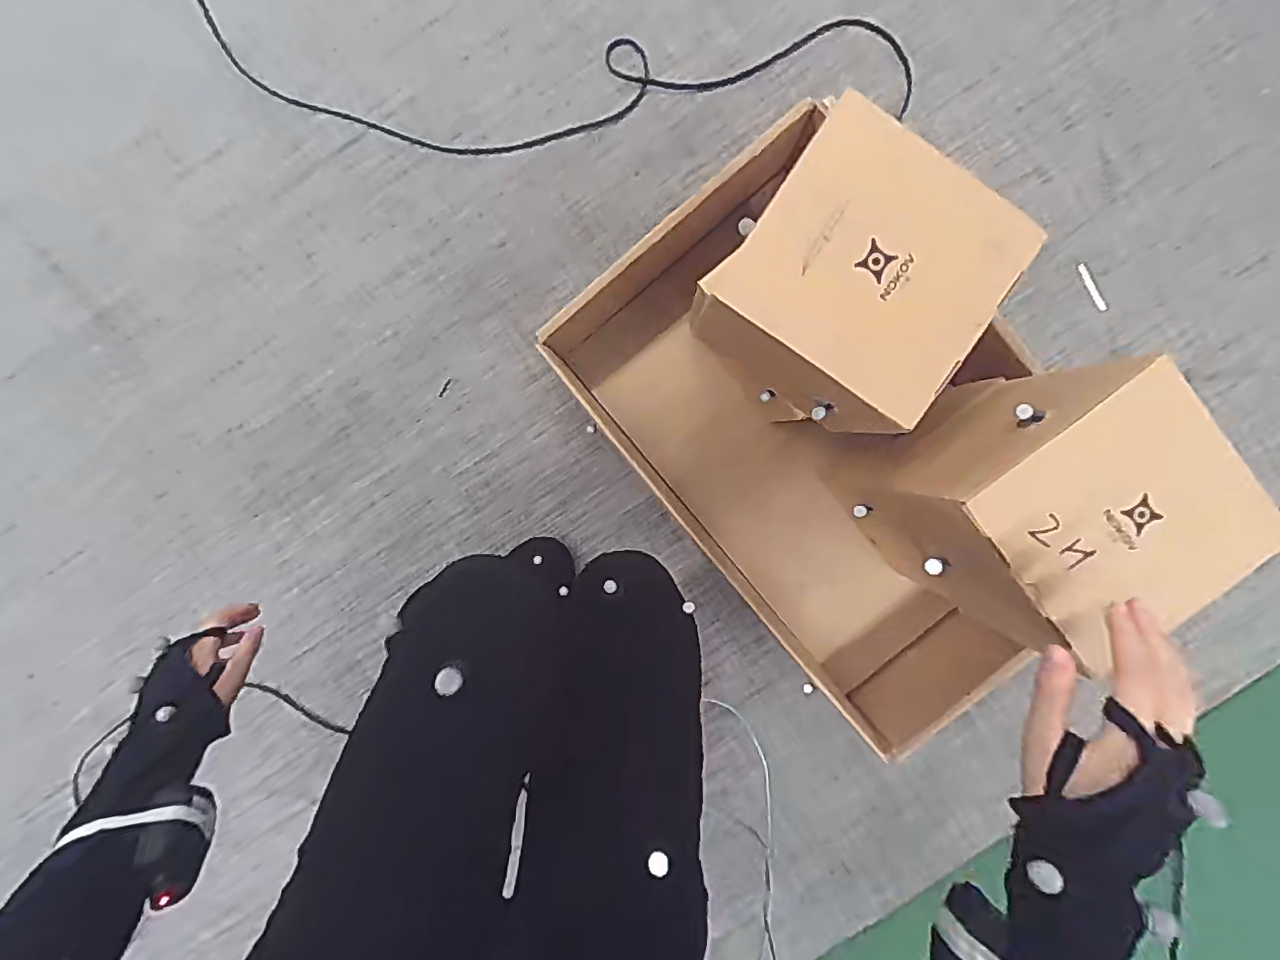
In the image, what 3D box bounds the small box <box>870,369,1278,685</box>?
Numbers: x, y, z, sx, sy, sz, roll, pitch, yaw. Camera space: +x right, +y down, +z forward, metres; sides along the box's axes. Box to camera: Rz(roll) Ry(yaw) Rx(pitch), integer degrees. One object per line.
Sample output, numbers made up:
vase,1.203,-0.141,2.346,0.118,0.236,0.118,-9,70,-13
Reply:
small box,0.339,0.029,0.464,0.179,0.176,0.168,-37,92,3
